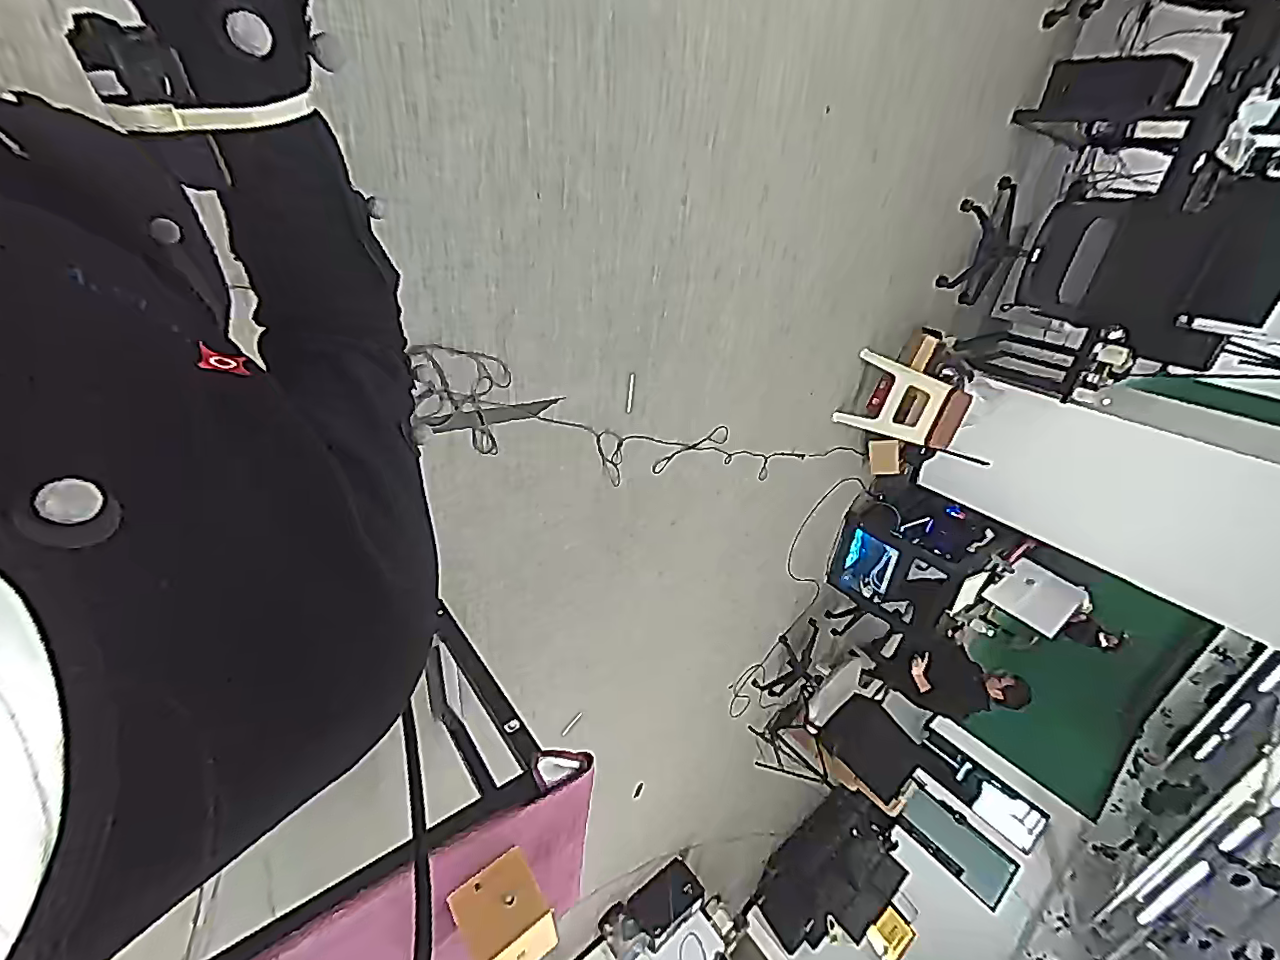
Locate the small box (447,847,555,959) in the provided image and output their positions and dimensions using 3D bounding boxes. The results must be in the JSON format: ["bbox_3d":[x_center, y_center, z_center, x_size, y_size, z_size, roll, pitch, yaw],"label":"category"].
[{"bbox_3d":[-0.307,0.962,1.194,0.168,0.176,0.179,-24,129,-31],"label":"small box"}]
